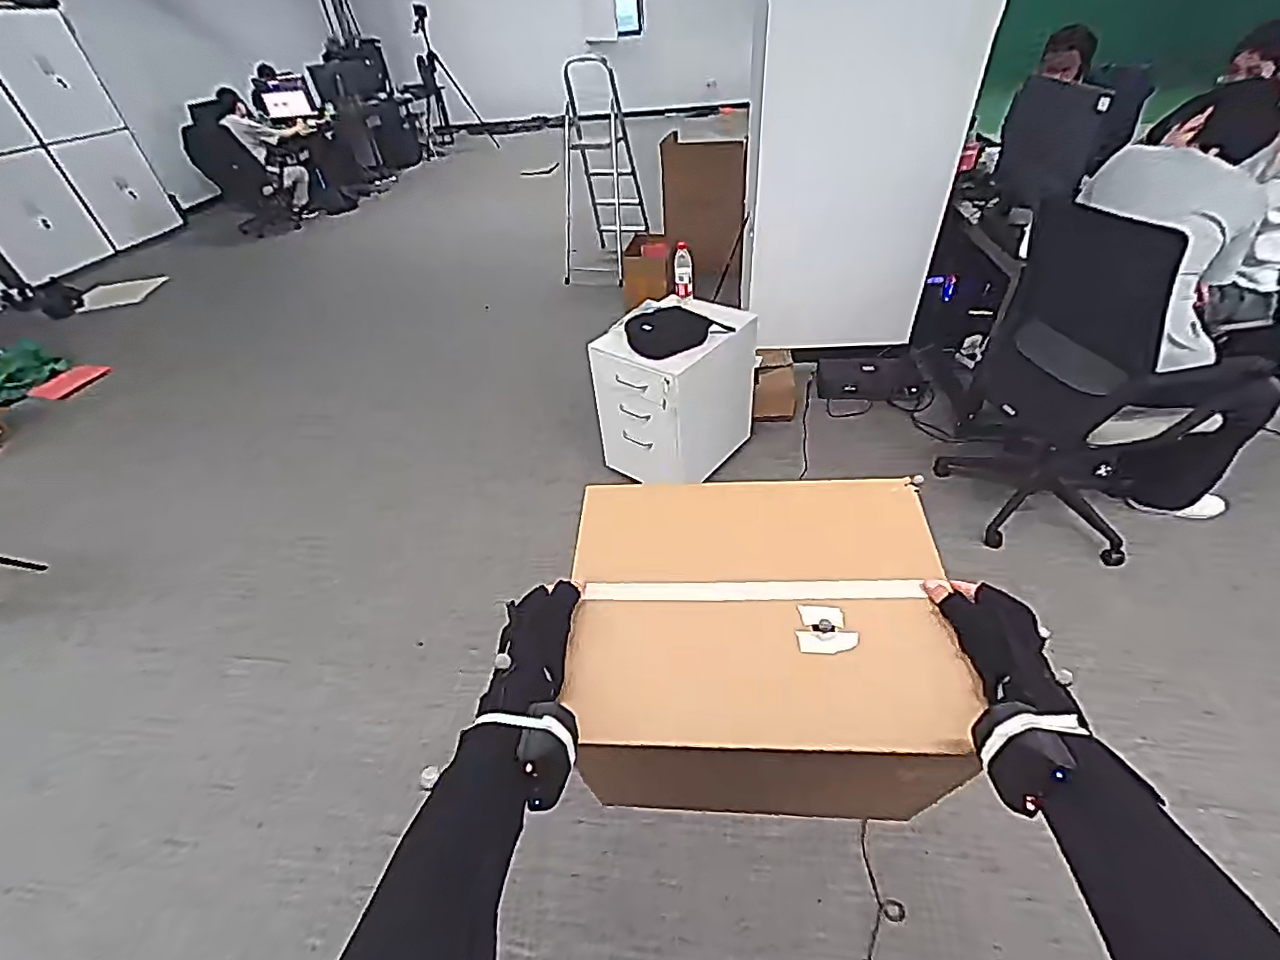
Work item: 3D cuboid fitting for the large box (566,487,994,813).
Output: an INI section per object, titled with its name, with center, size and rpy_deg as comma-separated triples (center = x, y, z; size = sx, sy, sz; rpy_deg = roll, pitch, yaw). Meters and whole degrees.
[large box]
center = 0.141, 0.228, 0.710
size = 0.408, 0.320, 0.320
rpy_deg = -1, 50, 6
